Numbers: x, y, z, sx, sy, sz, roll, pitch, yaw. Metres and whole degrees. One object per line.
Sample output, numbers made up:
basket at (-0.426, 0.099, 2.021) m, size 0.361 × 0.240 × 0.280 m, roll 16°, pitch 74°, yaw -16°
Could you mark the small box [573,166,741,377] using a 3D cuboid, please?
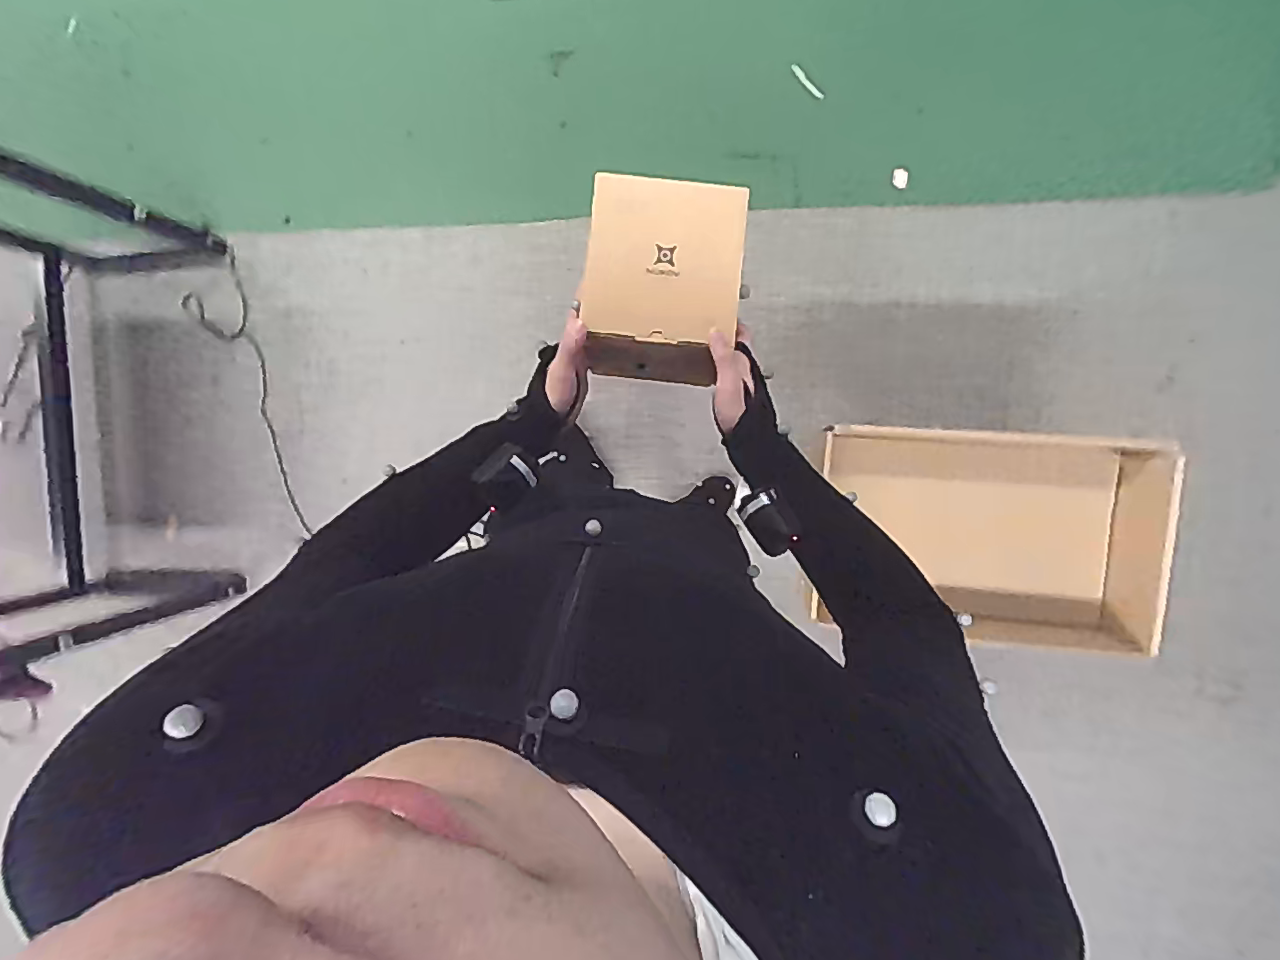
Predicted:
small box at (0.016, -0.233, 0.643) m, size 0.168 × 0.176 × 0.179 m, roll 5°, pitch 89°, yaw 0°
